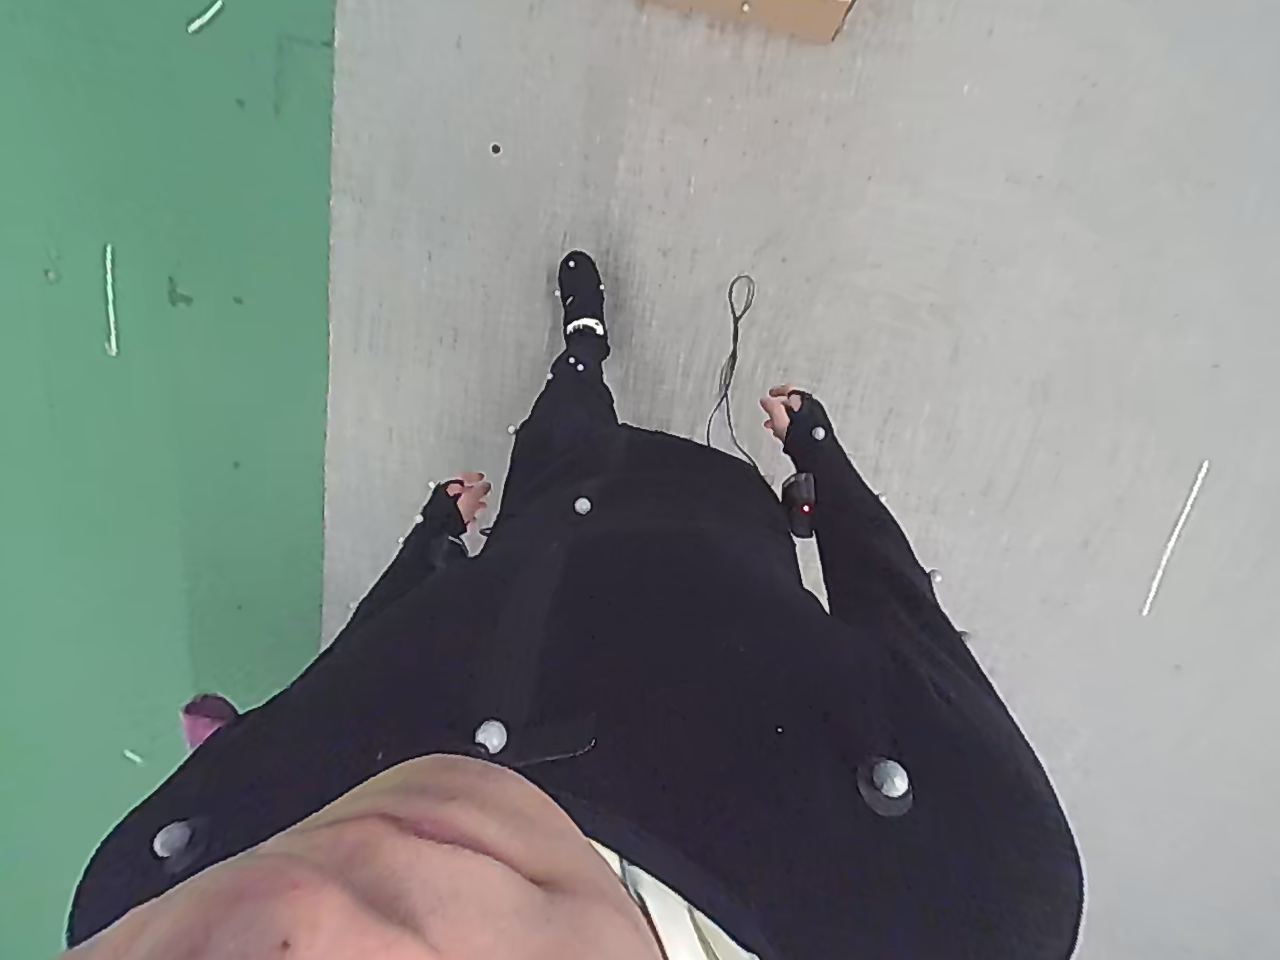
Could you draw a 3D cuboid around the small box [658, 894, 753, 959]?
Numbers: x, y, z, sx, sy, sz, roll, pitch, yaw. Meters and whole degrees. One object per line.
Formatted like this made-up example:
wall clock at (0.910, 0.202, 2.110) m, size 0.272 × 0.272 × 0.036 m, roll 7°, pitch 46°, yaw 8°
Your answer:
small box at (0.116, 0.912, 0.986) m, size 0.168 × 0.176 × 0.179 m, roll 4°, pitch 103°, yaw 3°
